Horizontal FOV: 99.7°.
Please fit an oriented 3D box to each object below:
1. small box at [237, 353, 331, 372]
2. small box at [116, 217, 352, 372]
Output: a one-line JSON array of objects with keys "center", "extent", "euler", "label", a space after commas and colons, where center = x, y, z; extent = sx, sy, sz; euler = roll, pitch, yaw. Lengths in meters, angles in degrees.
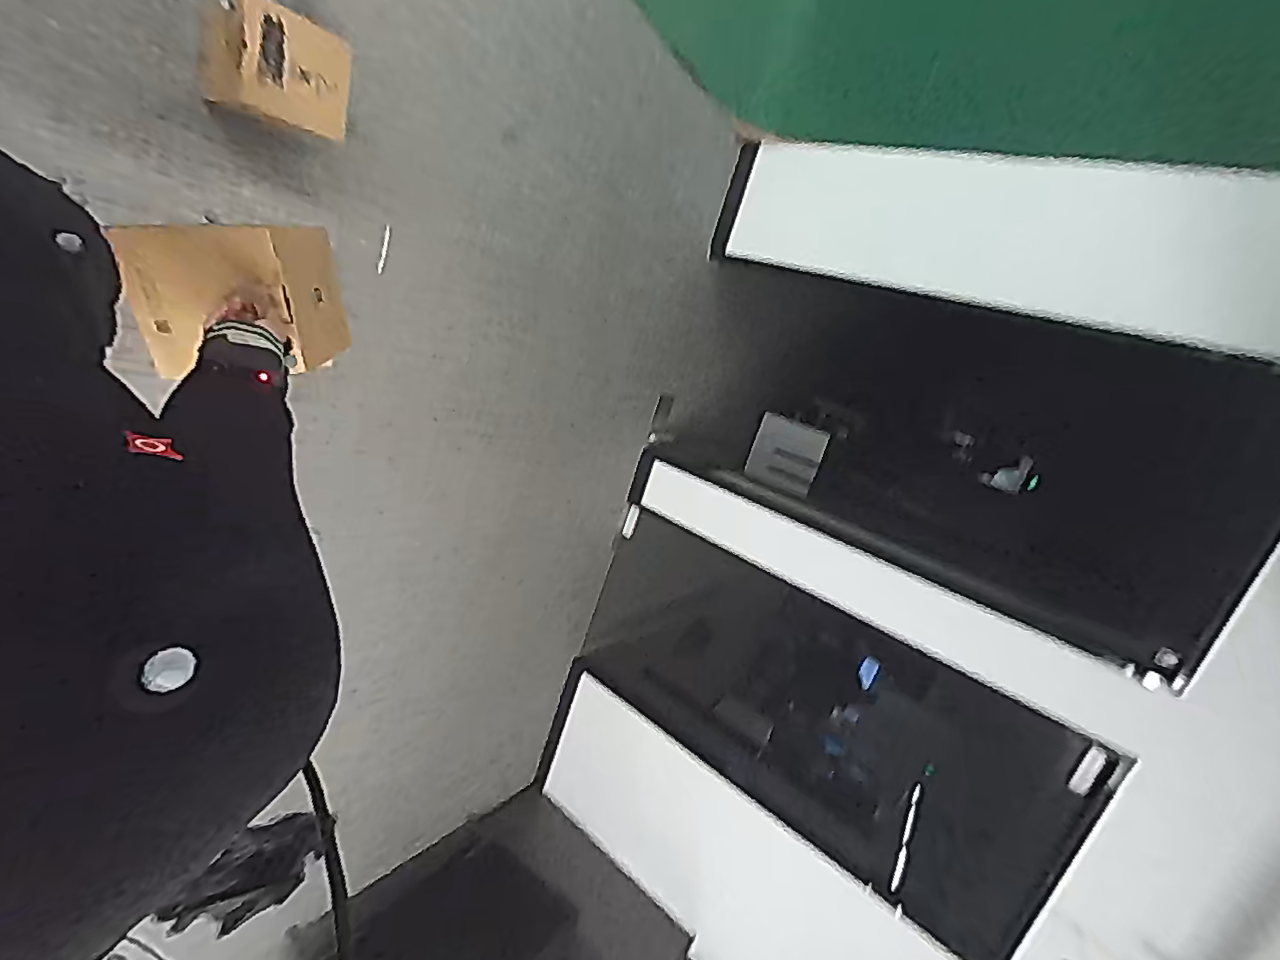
[{"center": [-0.770, -0.328, 1.122], "extent": [0.179, 0.176, 0.168], "euler": [-15, 124, -52], "label": "small box"}, {"center": [-0.498, -0.237, 0.681], "extent": [0.176, 0.179, 0.168], "euler": [-4, 116, -7], "label": "small box"}]
